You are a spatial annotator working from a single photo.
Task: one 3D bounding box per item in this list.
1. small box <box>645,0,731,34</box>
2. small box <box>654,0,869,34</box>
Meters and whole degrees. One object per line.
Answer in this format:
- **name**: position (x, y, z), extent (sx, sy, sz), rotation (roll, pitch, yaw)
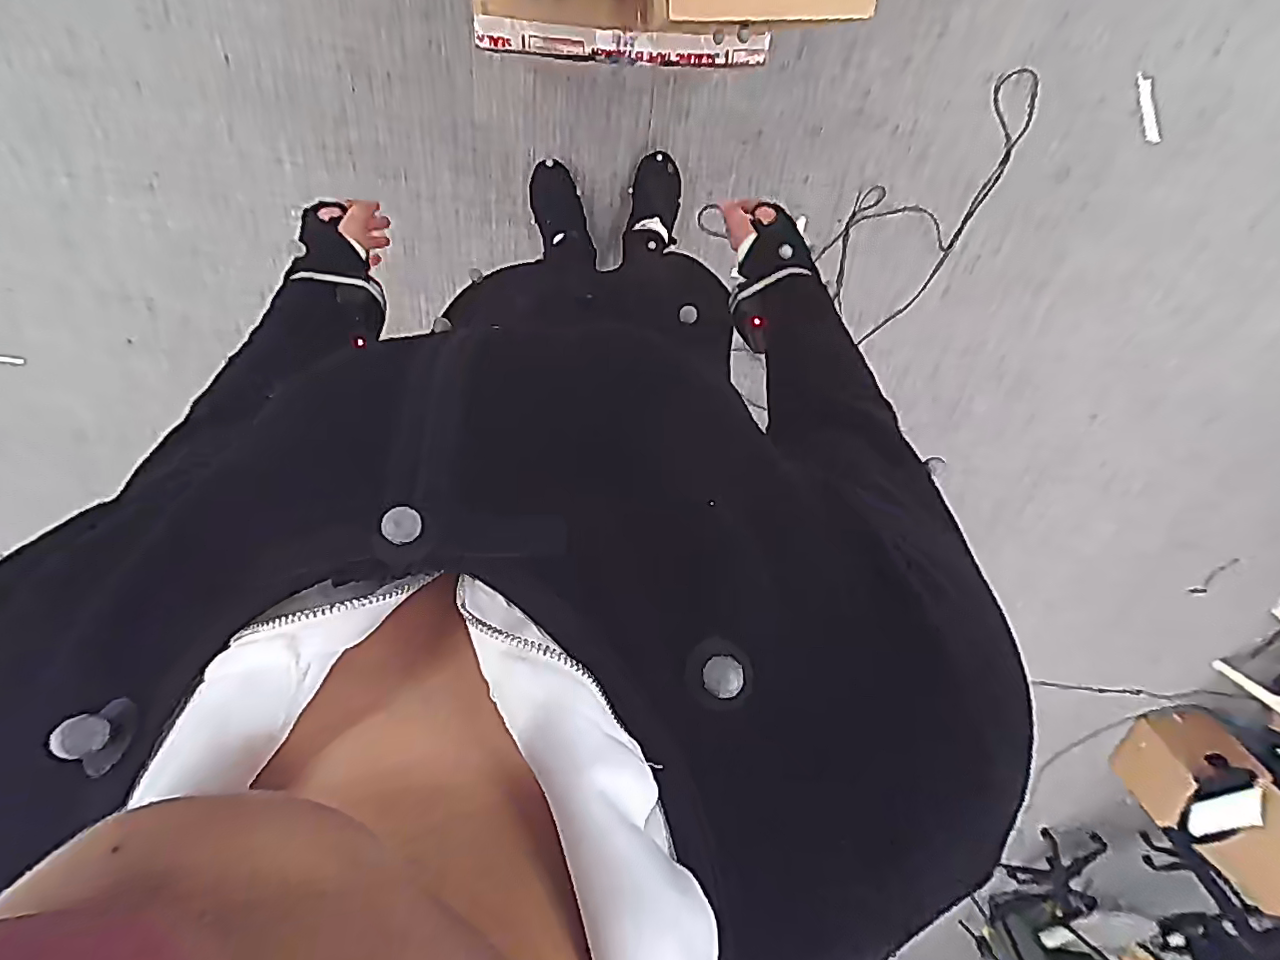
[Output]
- **small box**: position (0.097, -0.607, 0.602), extent (0.179, 0.176, 0.168), rotation (-2, 128, -1)
- **small box**: position (0.103, -0.501, 0.473), extent (0.179, 0.176, 0.168), rotation (-2, 128, -2)
